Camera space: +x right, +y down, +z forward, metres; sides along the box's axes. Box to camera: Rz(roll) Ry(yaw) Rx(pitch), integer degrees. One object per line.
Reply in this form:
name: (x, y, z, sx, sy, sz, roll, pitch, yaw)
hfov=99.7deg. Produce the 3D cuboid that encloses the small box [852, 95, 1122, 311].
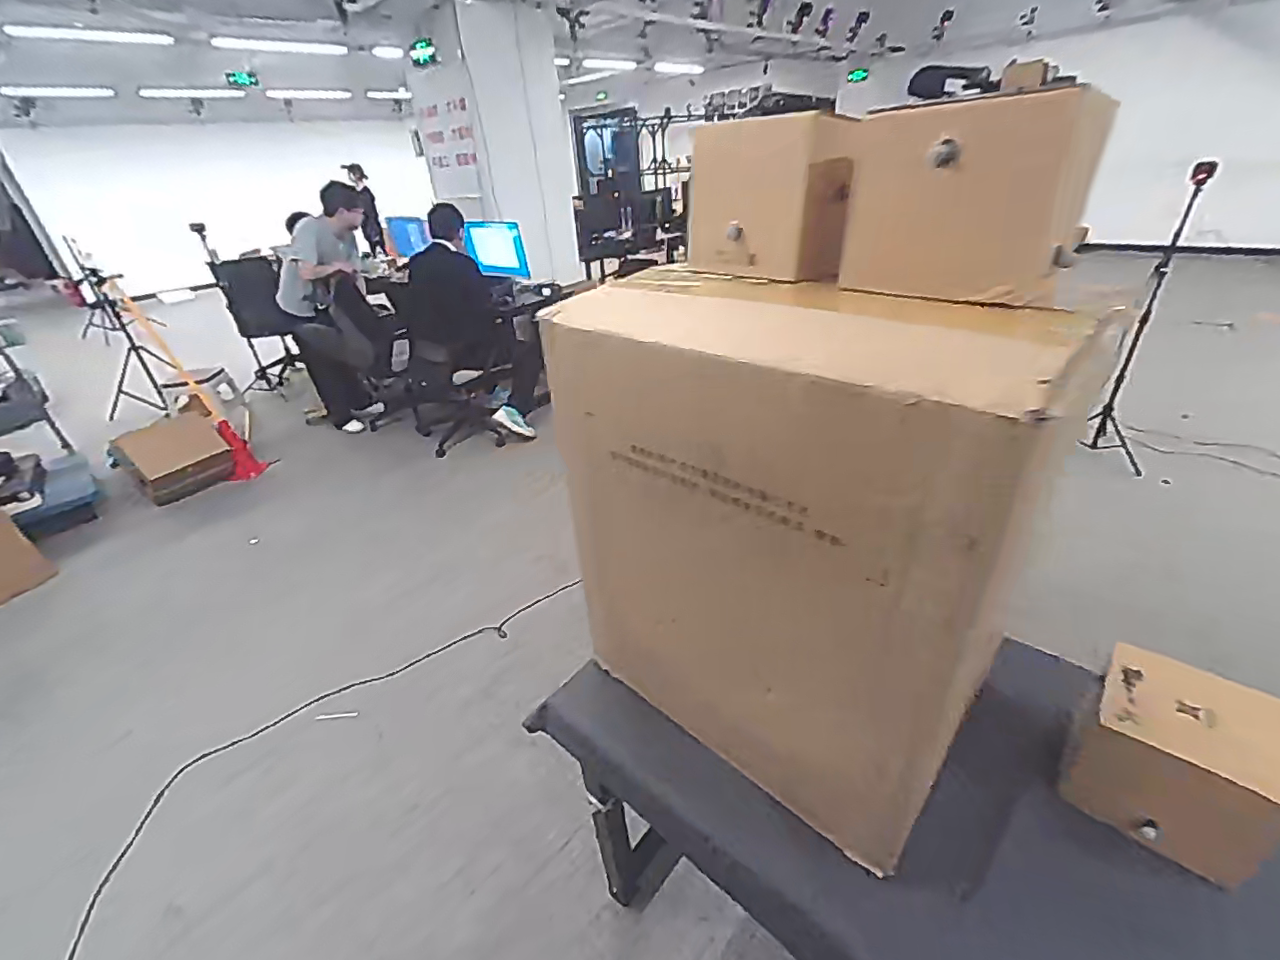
small box: (0.342, -0.275, 0.555, 0.179, 0.176, 0.168, 25, 38, 38)

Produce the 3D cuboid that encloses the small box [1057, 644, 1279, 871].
small box: (0.682, 0.357, 0.699, 0.179, 0.176, 0.168, 21, 39, 38)
